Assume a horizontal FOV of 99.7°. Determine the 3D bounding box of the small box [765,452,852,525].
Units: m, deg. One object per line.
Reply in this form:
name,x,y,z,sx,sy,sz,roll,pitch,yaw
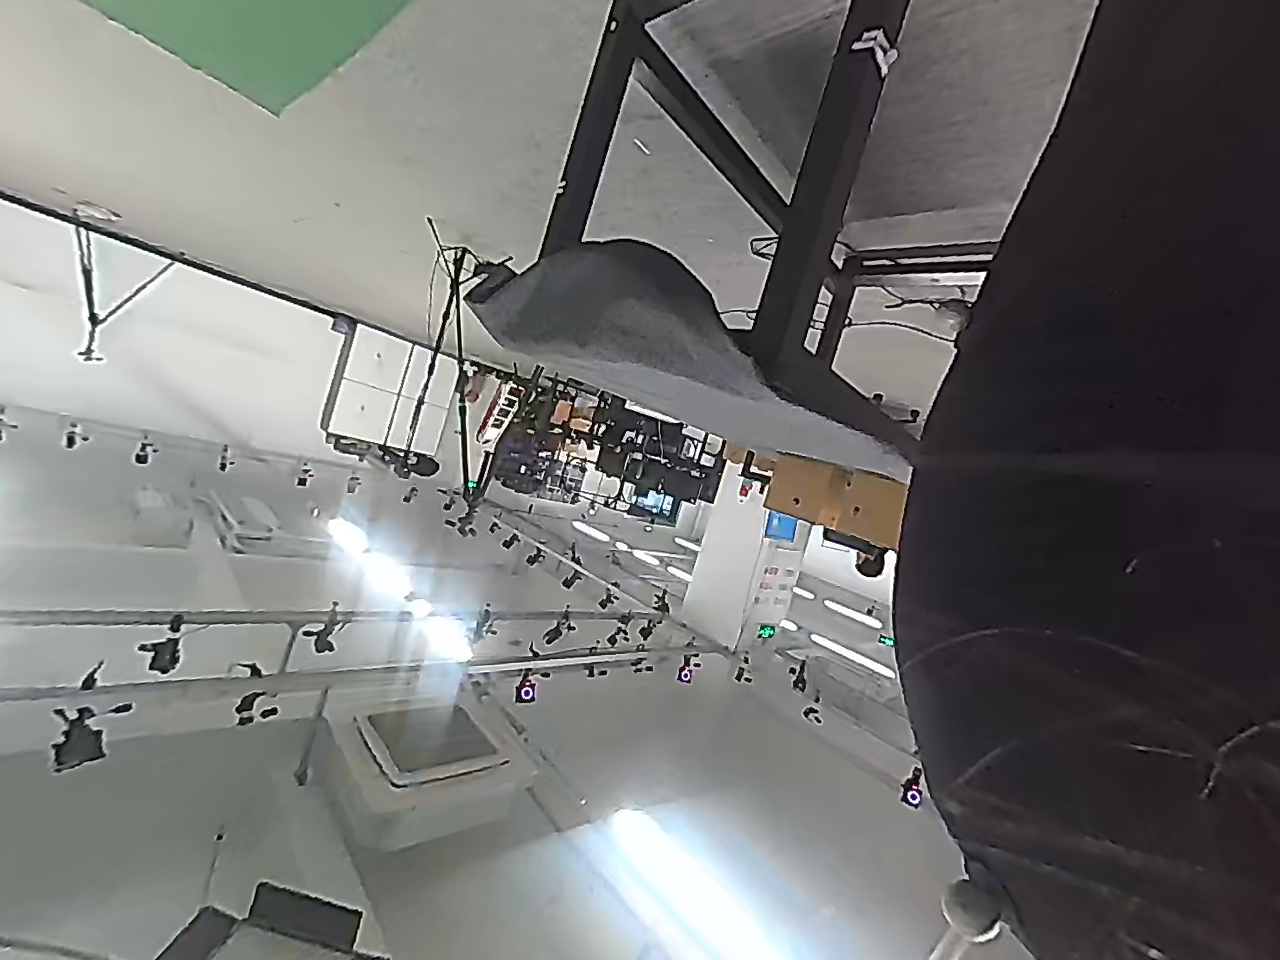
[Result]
small box,0.499,0.021,1.583,0.179,0.176,0.168,19,-177,44
